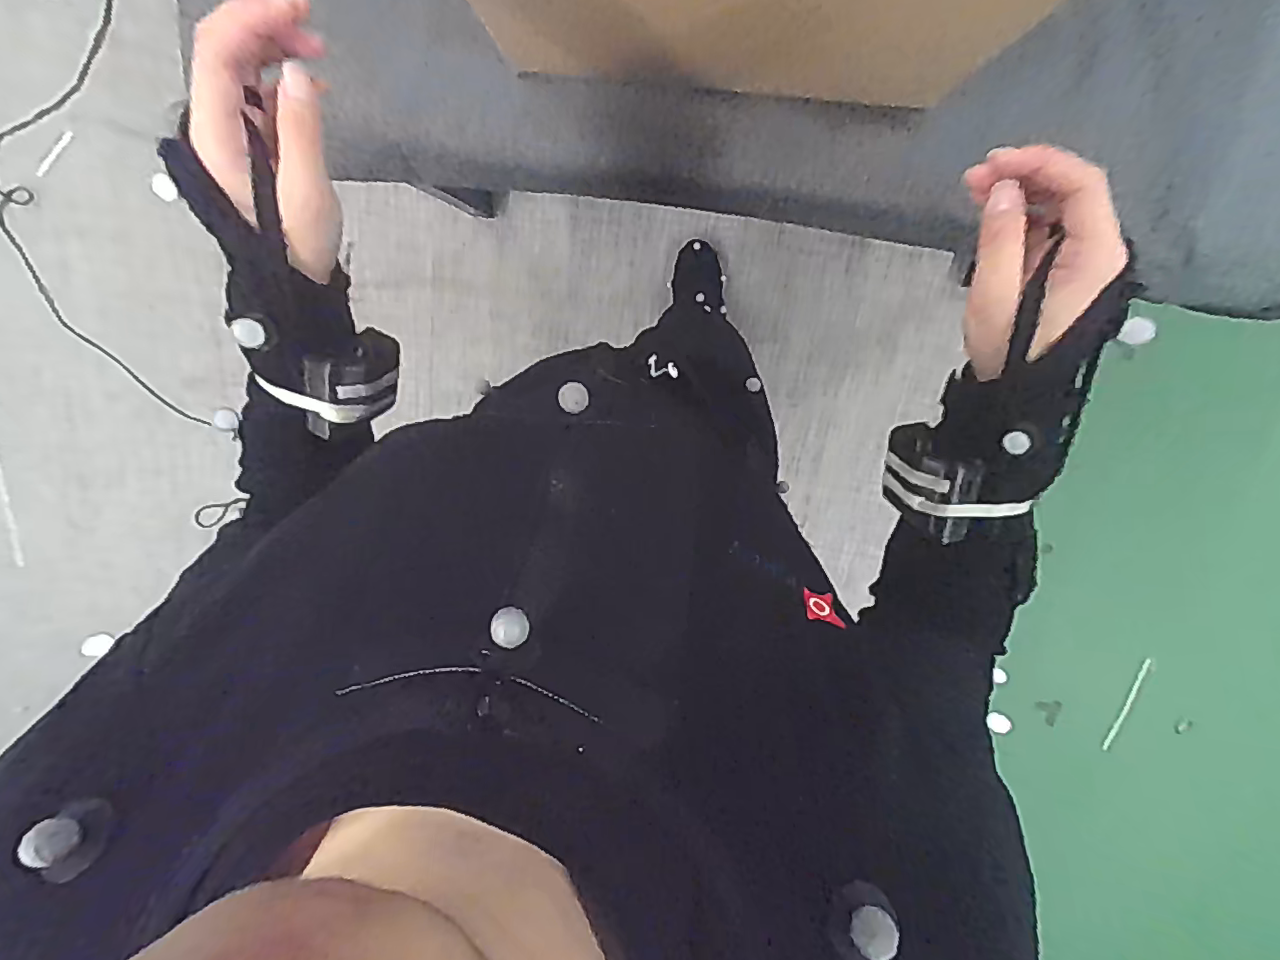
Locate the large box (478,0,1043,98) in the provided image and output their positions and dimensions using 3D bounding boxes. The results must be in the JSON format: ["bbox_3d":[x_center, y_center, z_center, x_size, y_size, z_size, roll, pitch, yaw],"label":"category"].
[{"bbox_3d":[0.082,-0.477,0.330,0.408,0.320,0.320,5,107,0],"label":"large box"}]
